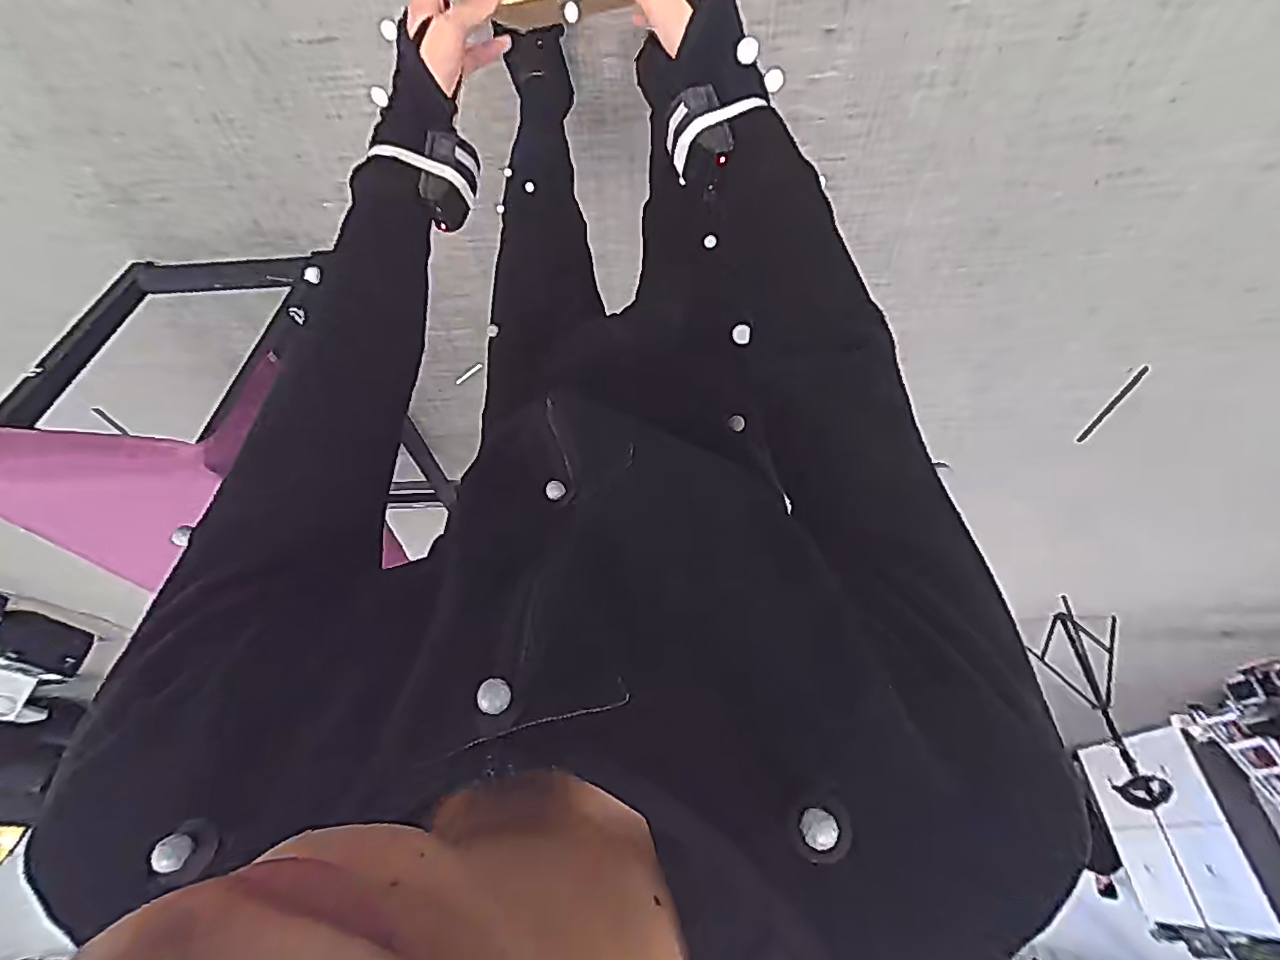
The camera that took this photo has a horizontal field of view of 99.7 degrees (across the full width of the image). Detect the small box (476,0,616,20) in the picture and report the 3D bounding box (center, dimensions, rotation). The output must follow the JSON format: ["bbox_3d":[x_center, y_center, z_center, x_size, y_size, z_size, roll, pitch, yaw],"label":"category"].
[{"bbox_3d":[-0.061,-0.515,0.456,0.179,0.176,0.168,-6,126,8],"label":"small box"}]
